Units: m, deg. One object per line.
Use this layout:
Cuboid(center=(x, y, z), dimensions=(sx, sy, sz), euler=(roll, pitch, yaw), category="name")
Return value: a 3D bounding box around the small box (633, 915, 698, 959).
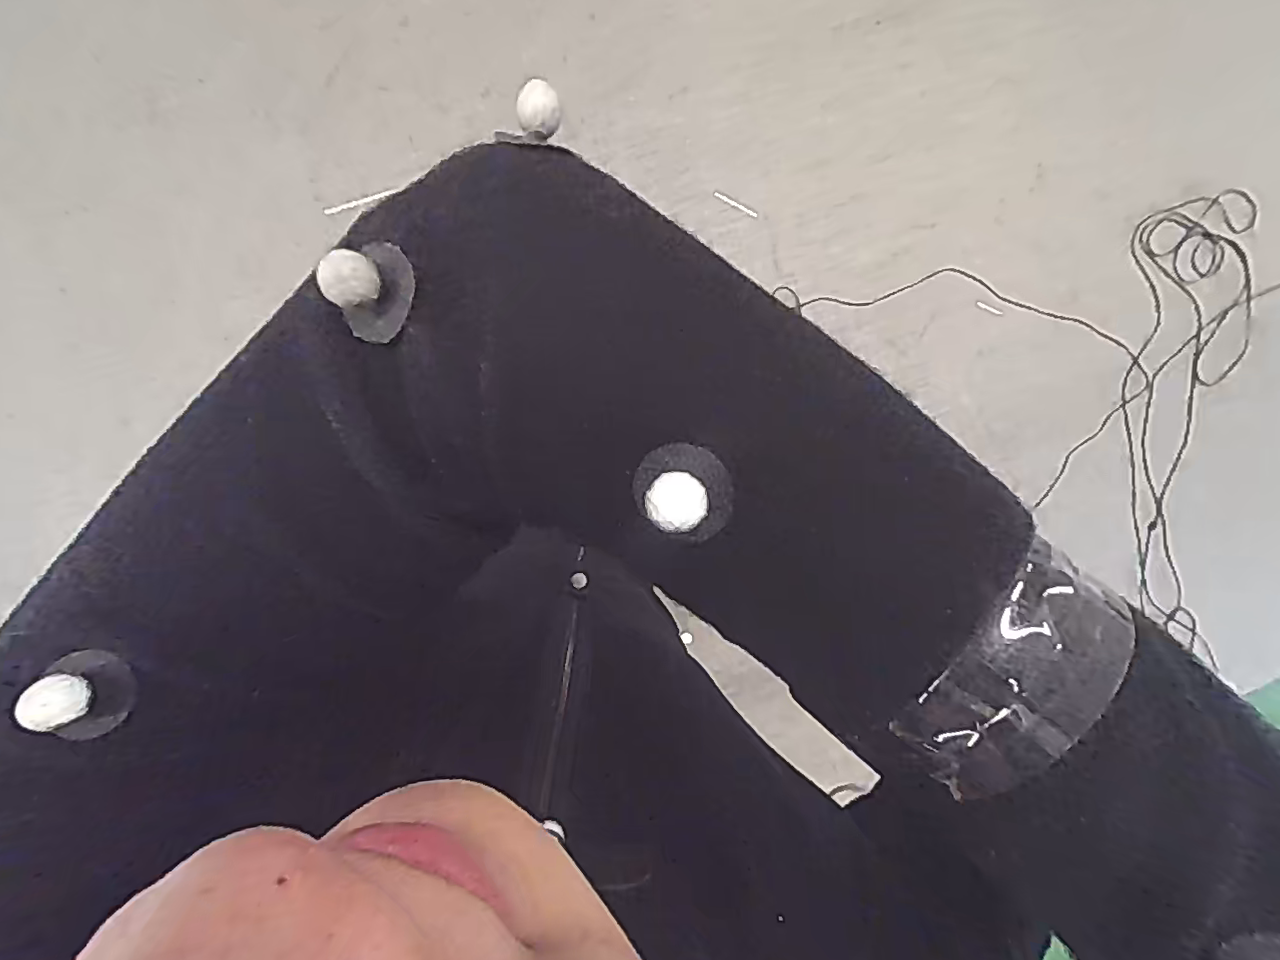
Cuboid(center=(0.075, 1.340, 1.464), dimensions=(0.168, 0.176, 0.179), euler=(-6, 94, -7), category="small box")
